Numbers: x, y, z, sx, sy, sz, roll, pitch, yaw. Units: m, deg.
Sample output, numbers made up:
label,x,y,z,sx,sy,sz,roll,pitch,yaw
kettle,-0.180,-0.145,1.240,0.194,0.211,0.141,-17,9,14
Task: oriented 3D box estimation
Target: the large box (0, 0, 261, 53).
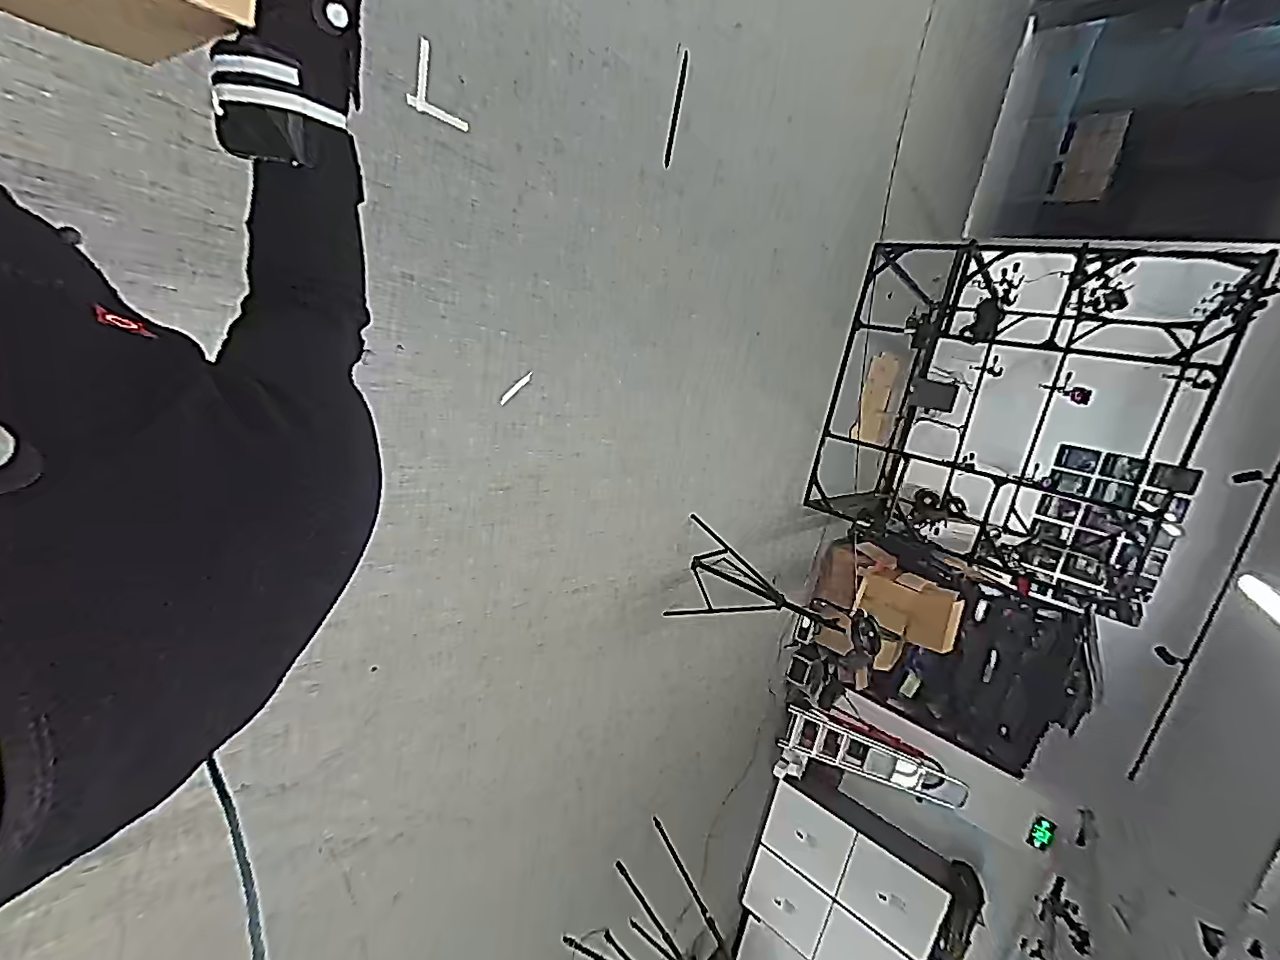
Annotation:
label,x,y,z,sx,sy,sz,roll,pitch,yaw
large box,-0.454,-0.472,0.239,0.408,0.320,0.320,-9,119,-51
